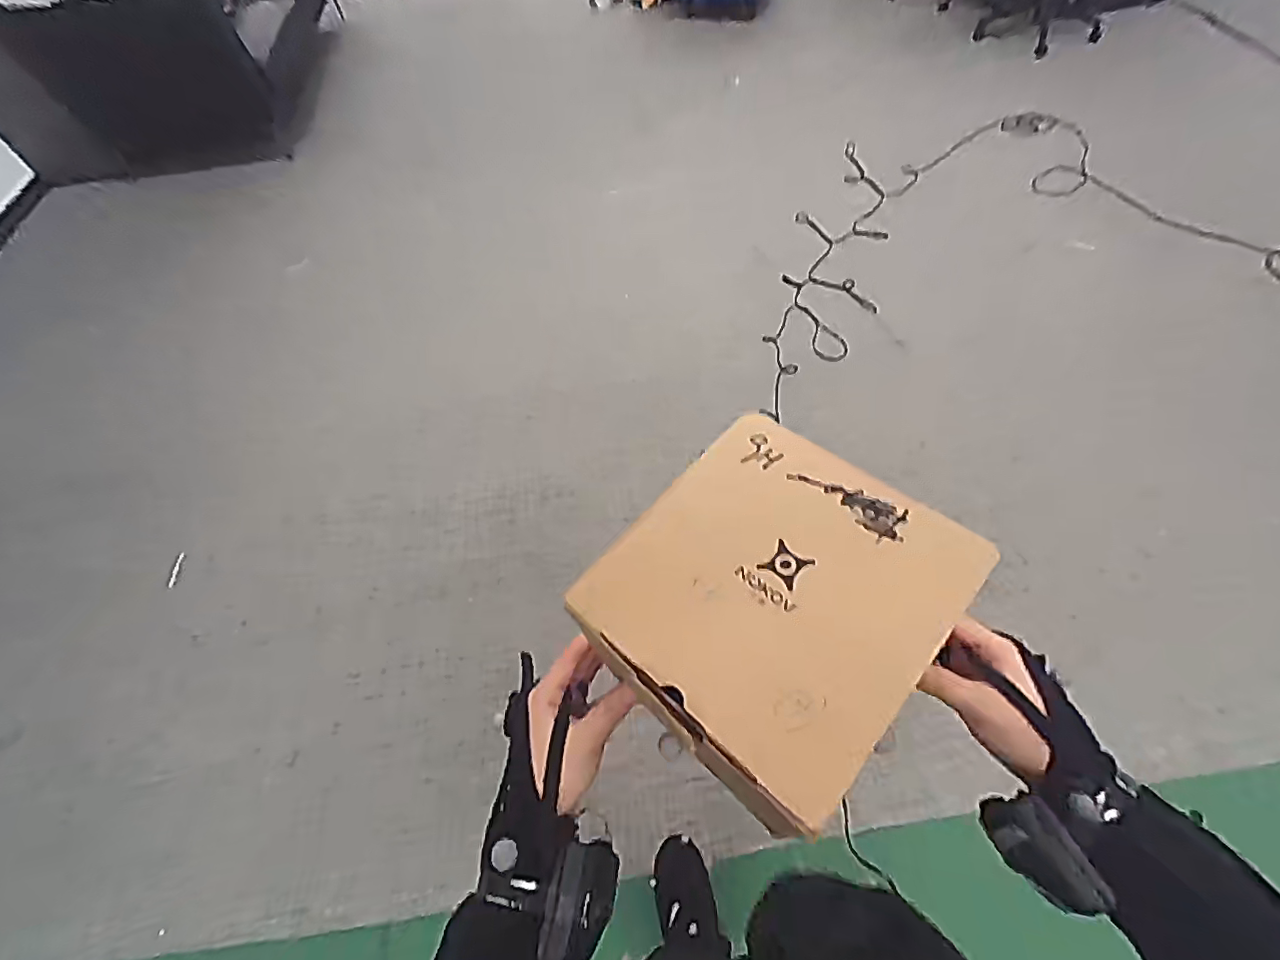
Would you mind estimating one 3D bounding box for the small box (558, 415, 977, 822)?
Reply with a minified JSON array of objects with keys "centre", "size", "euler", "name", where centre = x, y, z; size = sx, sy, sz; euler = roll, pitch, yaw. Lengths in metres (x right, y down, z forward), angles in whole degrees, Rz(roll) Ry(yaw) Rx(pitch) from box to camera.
[{"centre":[0.079,0.097,0.366],"size":[0.168,0.176,0.179],"euler":[36,69,28],"name":"small box"}]
